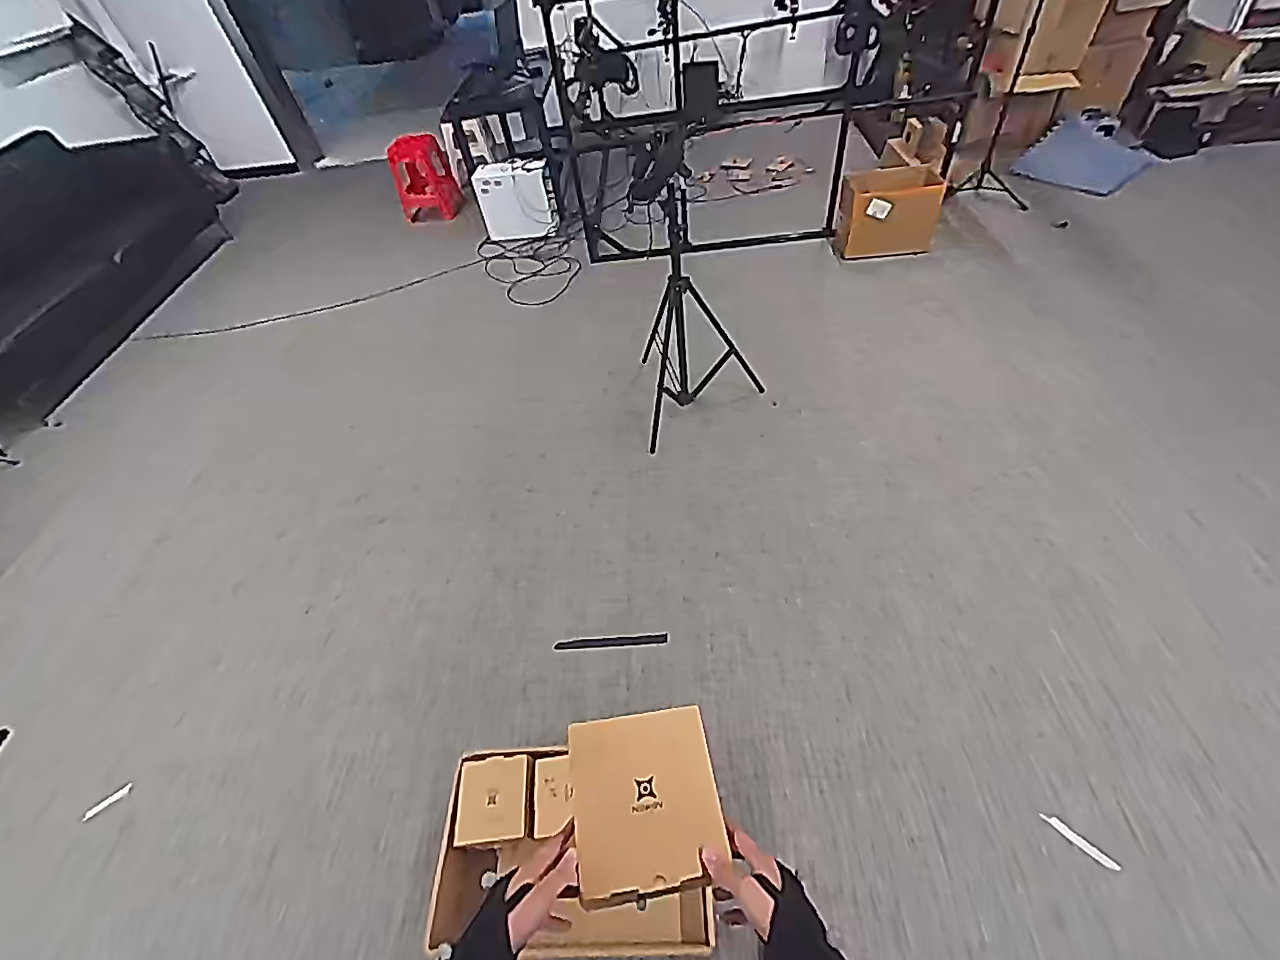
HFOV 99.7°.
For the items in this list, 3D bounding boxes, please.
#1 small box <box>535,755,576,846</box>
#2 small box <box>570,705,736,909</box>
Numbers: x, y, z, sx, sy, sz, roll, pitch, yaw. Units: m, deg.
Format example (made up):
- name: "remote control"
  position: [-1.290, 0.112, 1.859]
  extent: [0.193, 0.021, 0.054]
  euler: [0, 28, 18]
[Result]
- name: "small box"
  position: [-0.150, 0.779, 1.319]
  extent: [0.179, 0.176, 0.168]
  euler: [-8, 50, 1]
- name: "small box"
  position: [0.003, 0.402, 0.665]
  extent: [0.168, 0.176, 0.179]
  euler: [-5, 51, -8]
